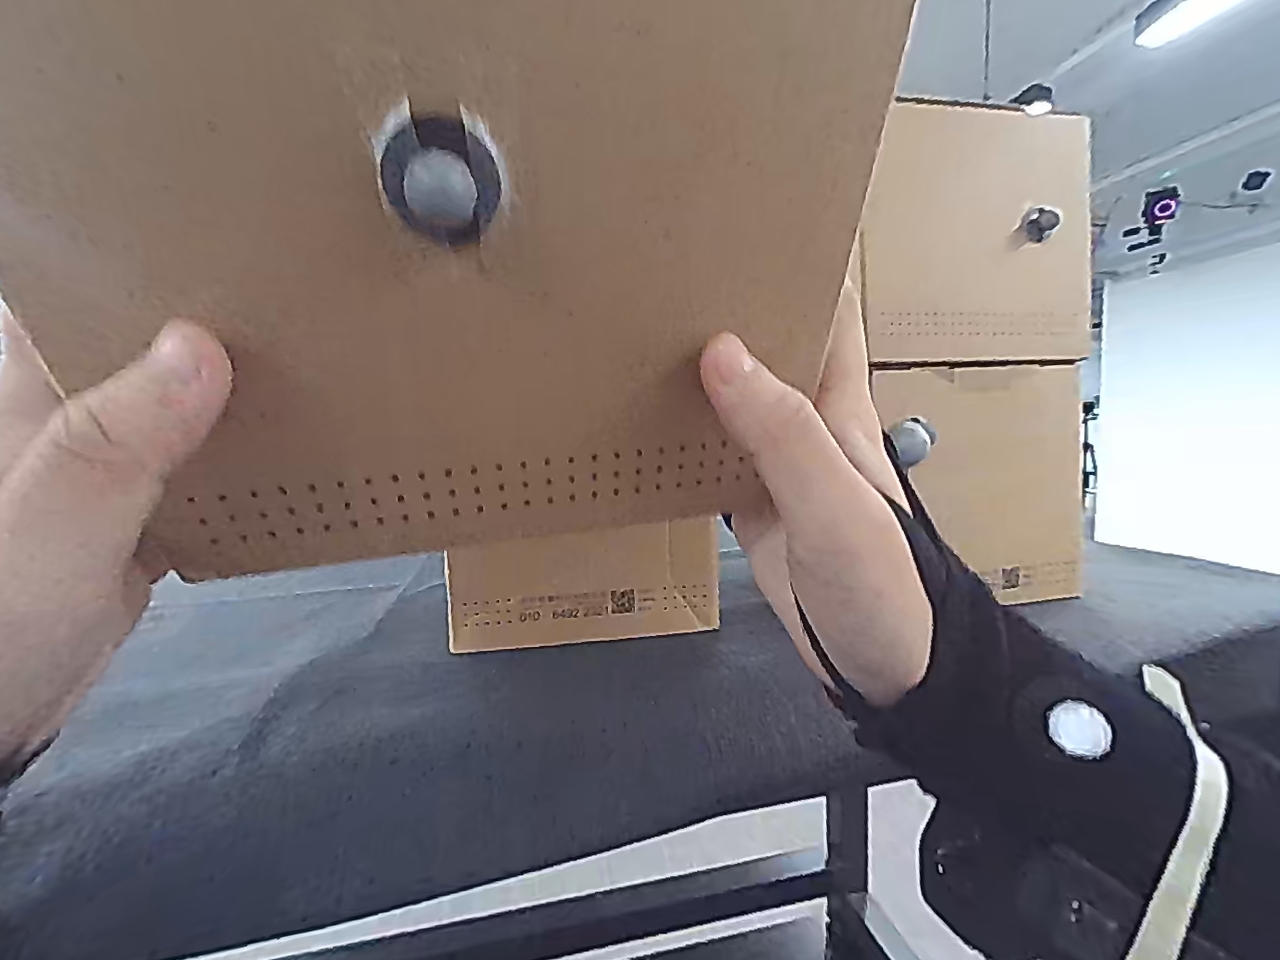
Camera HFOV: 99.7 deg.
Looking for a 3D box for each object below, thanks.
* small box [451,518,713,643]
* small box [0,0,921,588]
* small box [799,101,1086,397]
[{"bbox_3d":[-0.046,0.018,0.409,0.168,0.176,0.179,-3,3,-9],"label":"small box"},{"bbox_3d":[-0.049,-0.090,0.173,0.179,0.176,0.168,-8,37,-12],"label":"small box"},{"bbox_3d":[0.205,-0.159,0.430,0.179,0.176,0.168,-4,2,-11],"label":"small box"}]
